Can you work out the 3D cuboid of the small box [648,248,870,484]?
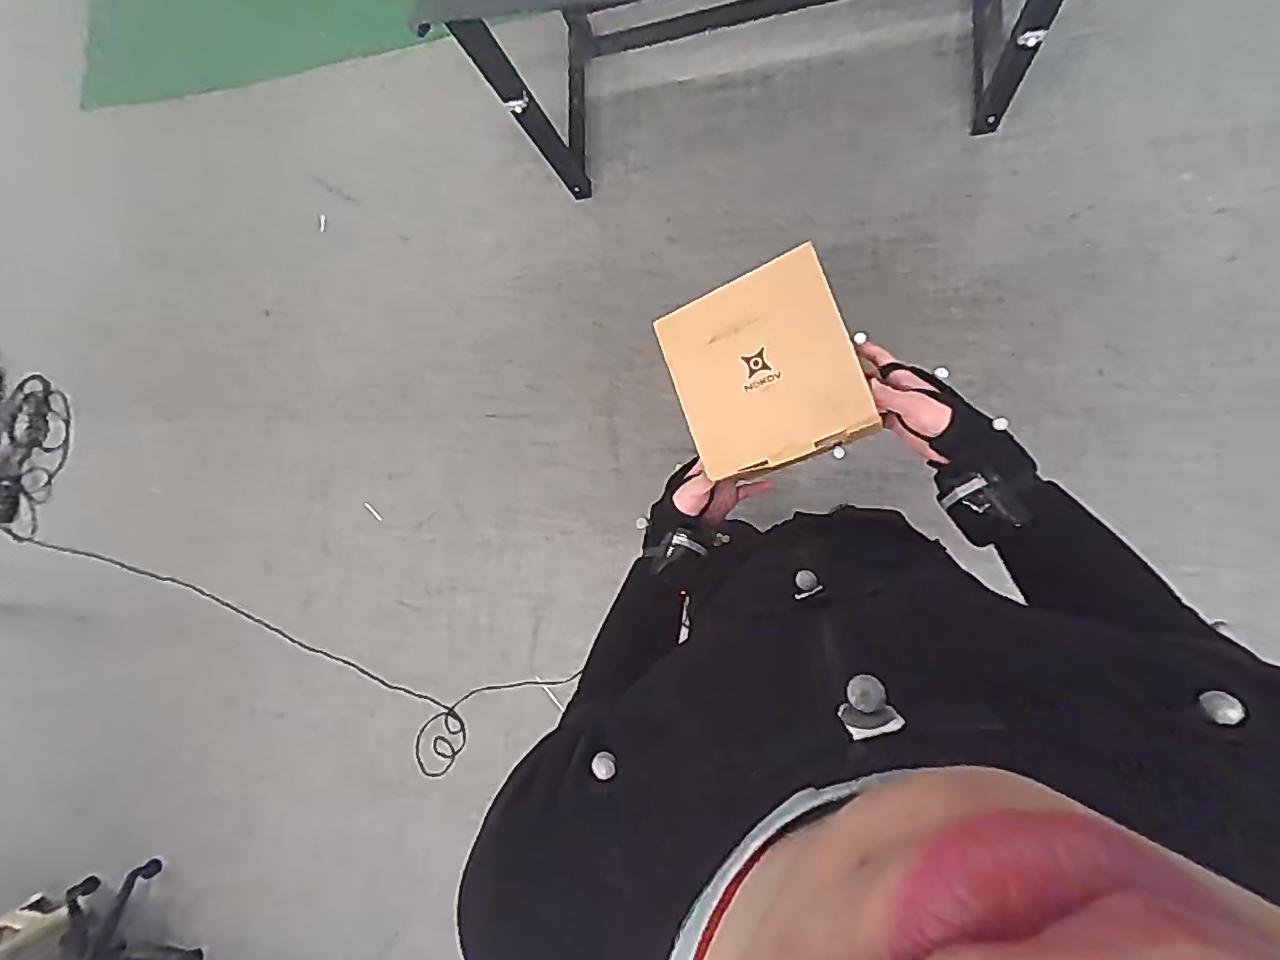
[{"bbox_3d":[0.136,-0.105,0.578,0.168,0.176,0.179,-21,82,23],"label":"small box"}]
